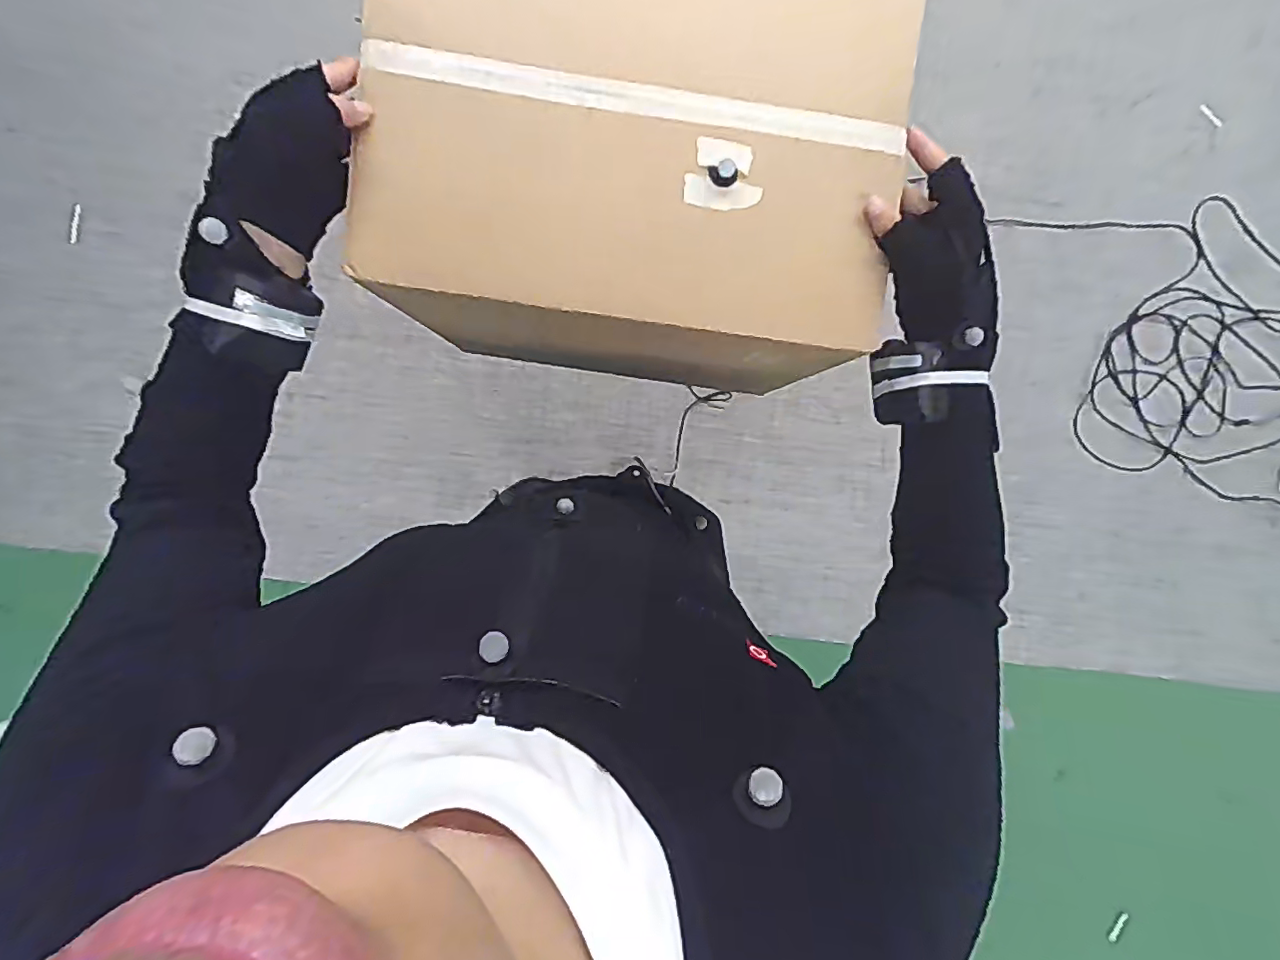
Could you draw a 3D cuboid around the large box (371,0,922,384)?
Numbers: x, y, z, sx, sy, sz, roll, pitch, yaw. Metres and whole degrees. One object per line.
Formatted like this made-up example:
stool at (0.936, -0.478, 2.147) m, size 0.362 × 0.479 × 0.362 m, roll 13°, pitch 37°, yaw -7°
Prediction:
large box at (0.000, -0.292, 0.561) m, size 0.408 × 0.320 × 0.320 m, roll 7°, pitch 93°, yaw -3°
